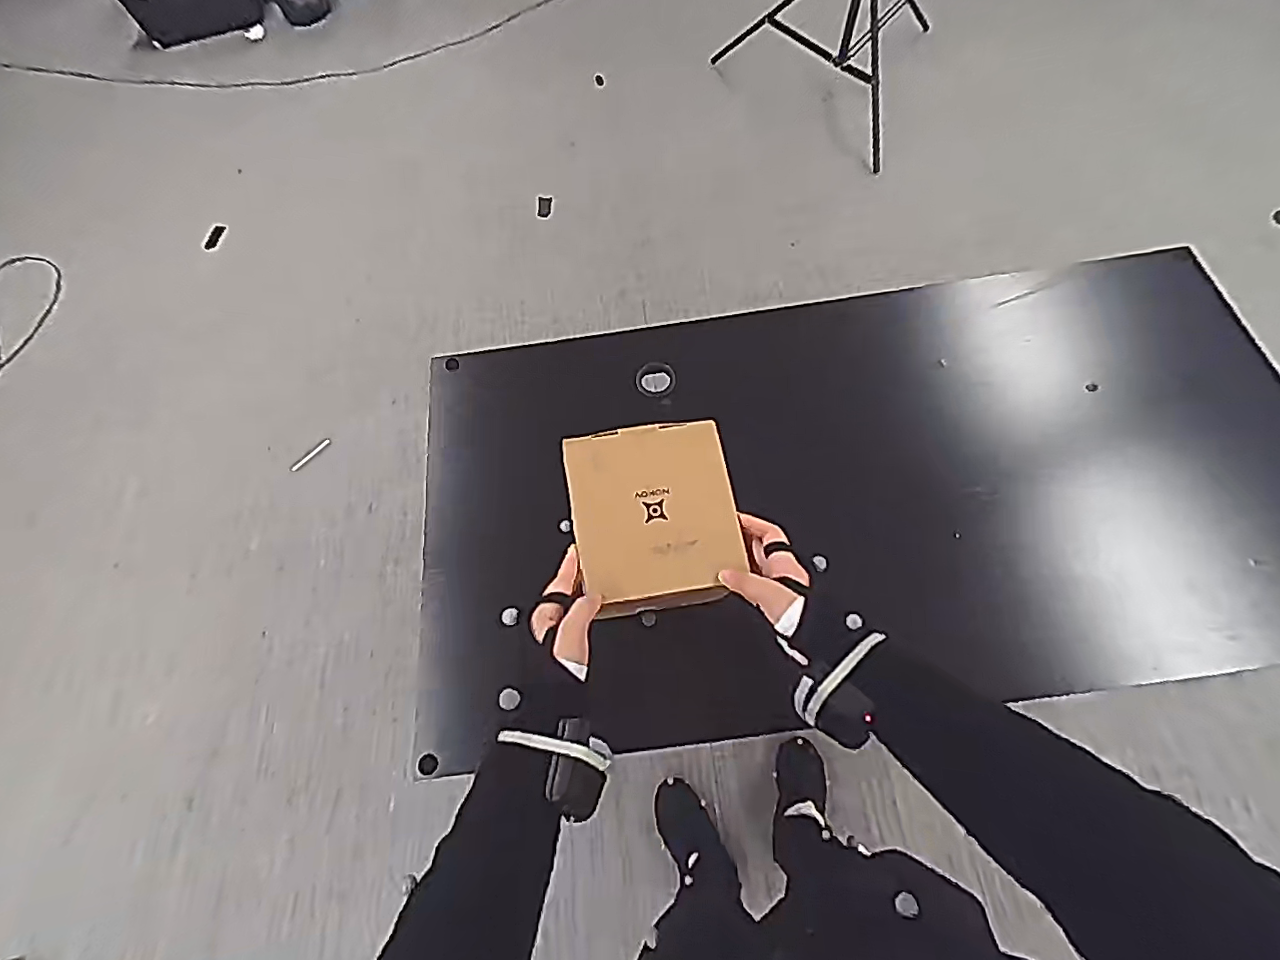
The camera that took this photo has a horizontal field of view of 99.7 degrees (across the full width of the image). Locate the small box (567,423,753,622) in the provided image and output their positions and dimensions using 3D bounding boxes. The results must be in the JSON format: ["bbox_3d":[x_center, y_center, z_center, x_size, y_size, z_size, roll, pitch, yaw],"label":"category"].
[{"bbox_3d":[0.012,0.056,0.620,0.168,0.176,0.179,-9,72,-6],"label":"small box"}]
